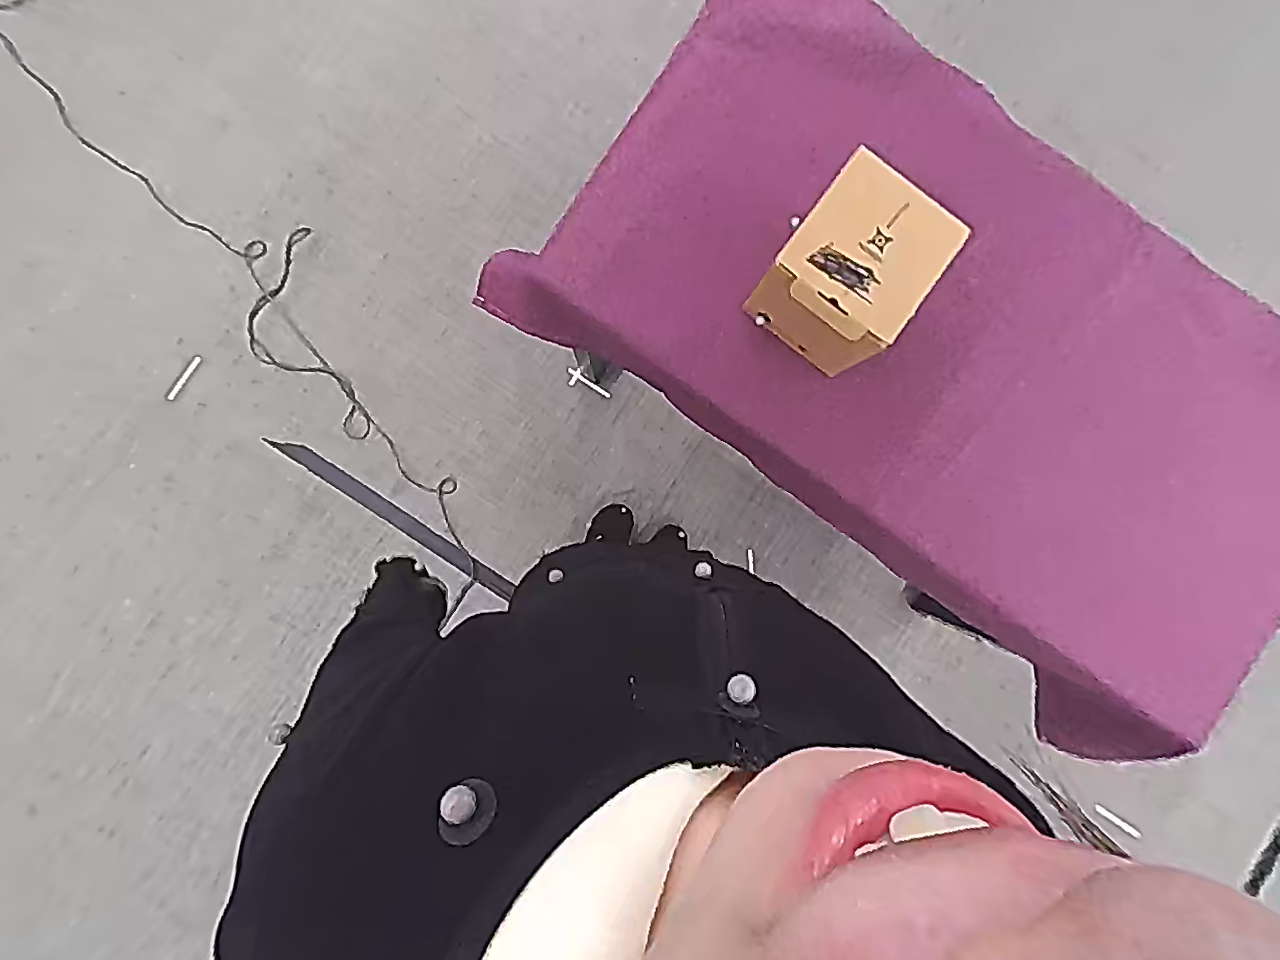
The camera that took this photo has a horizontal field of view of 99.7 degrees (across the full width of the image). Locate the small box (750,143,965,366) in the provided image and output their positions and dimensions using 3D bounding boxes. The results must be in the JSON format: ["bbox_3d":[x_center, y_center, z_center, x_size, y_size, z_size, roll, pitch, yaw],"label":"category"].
[{"bbox_3d":[0.263,-0.274,0.705,0.168,0.176,0.179,37,87,-2],"label":"small box"}]
